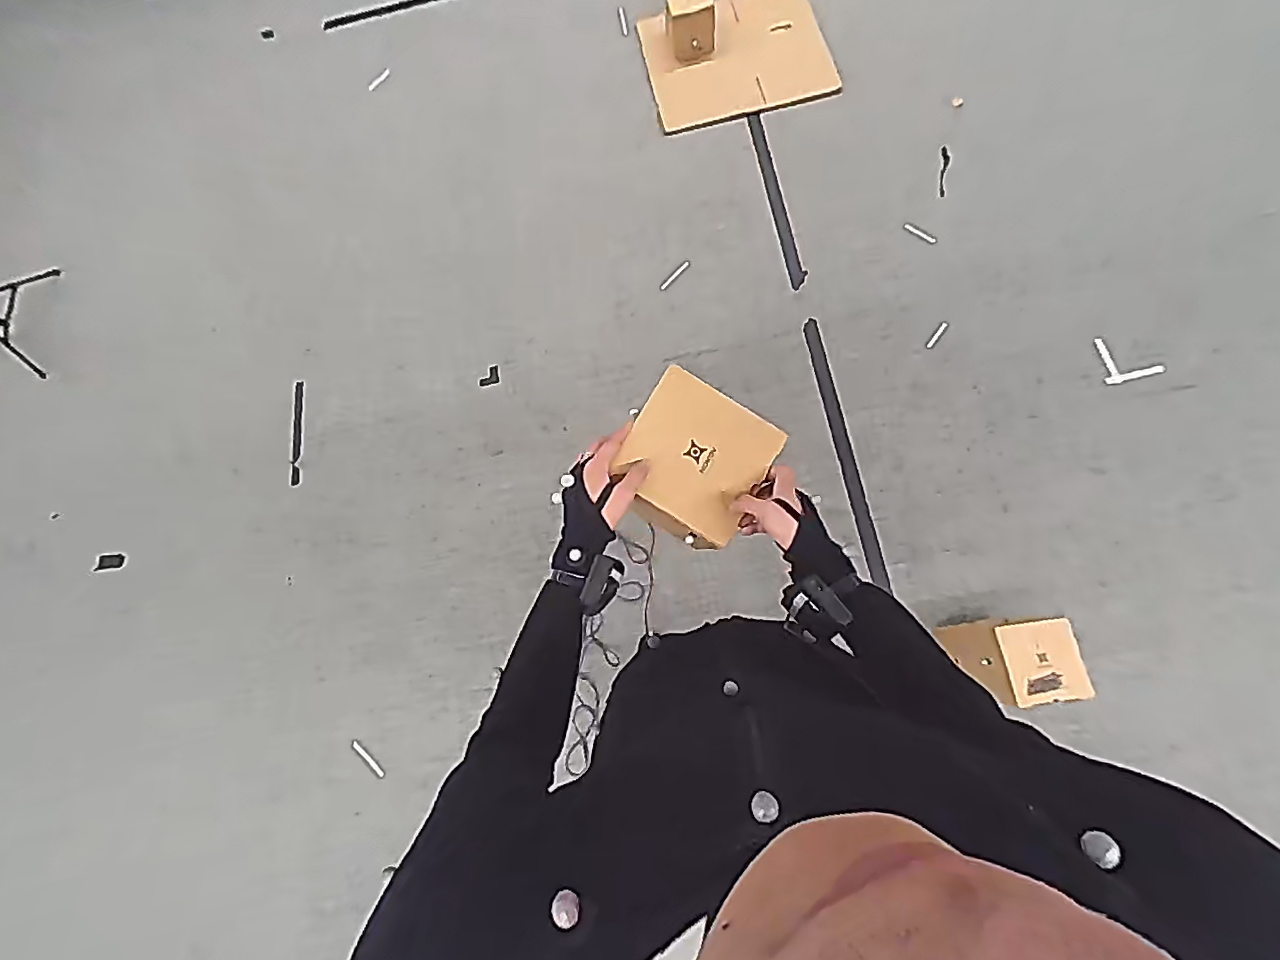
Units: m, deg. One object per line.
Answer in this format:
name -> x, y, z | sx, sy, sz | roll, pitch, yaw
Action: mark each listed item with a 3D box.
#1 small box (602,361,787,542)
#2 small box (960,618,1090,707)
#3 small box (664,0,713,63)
small box -> 0.060, -0.025, 0.730 | 0.179, 0.176, 0.168 | 31, 81, -3
small box -> 0.901, 0.426, 1.284 | 0.168, 0.176, 0.179 | -9, 73, 3
small box -> 0.188, -1.800, 2.126 | 0.168, 0.176, 0.179 | -13, 74, 4
